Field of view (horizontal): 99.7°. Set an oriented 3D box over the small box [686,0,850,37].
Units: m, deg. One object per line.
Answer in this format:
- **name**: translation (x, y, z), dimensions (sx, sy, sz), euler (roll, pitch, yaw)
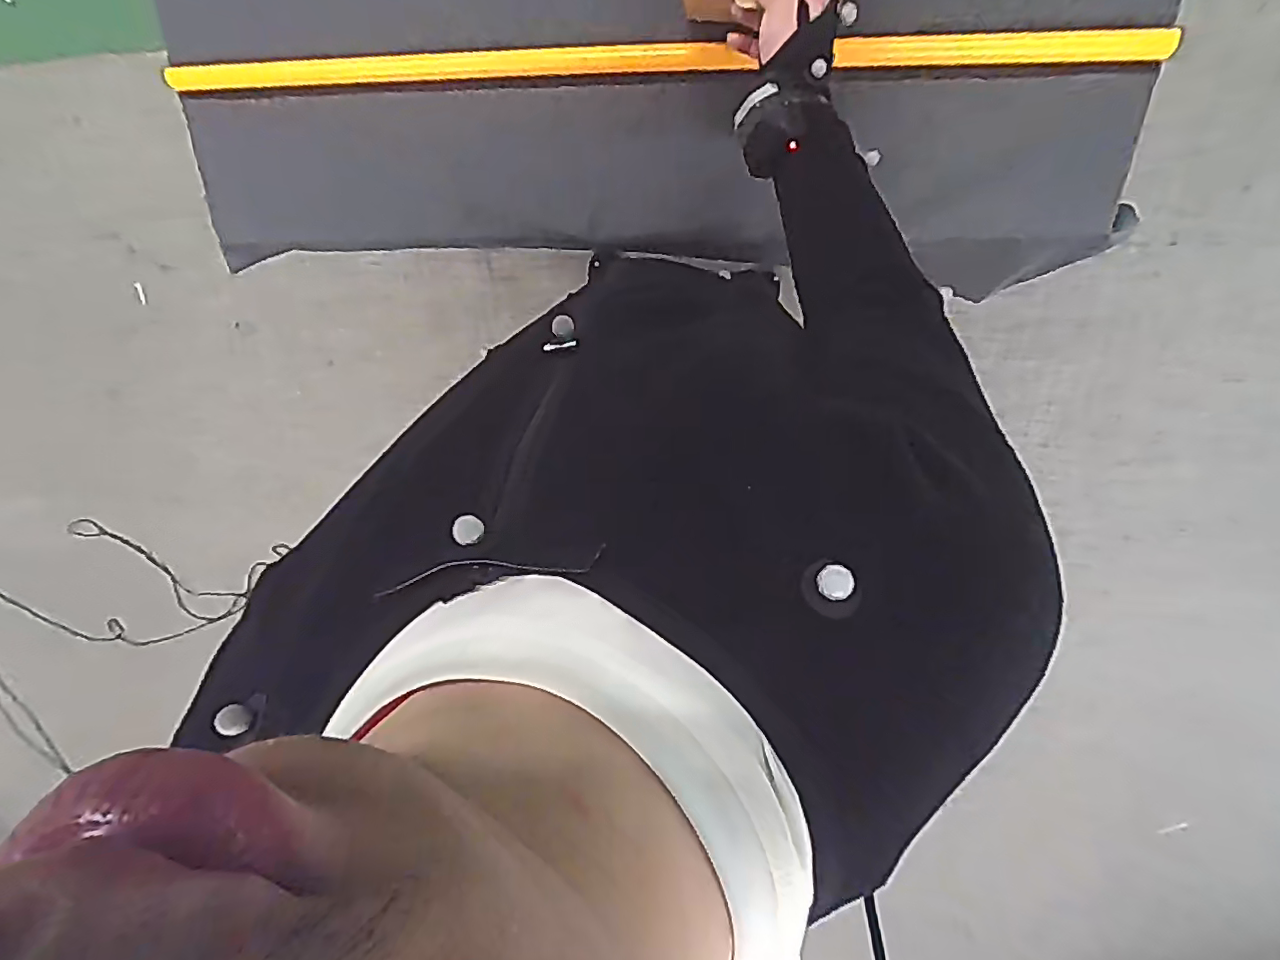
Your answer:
- **small box**: translation (0.132, -0.555, 0.517), dimensions (0.168, 0.176, 0.179), euler (5, 113, 10)
